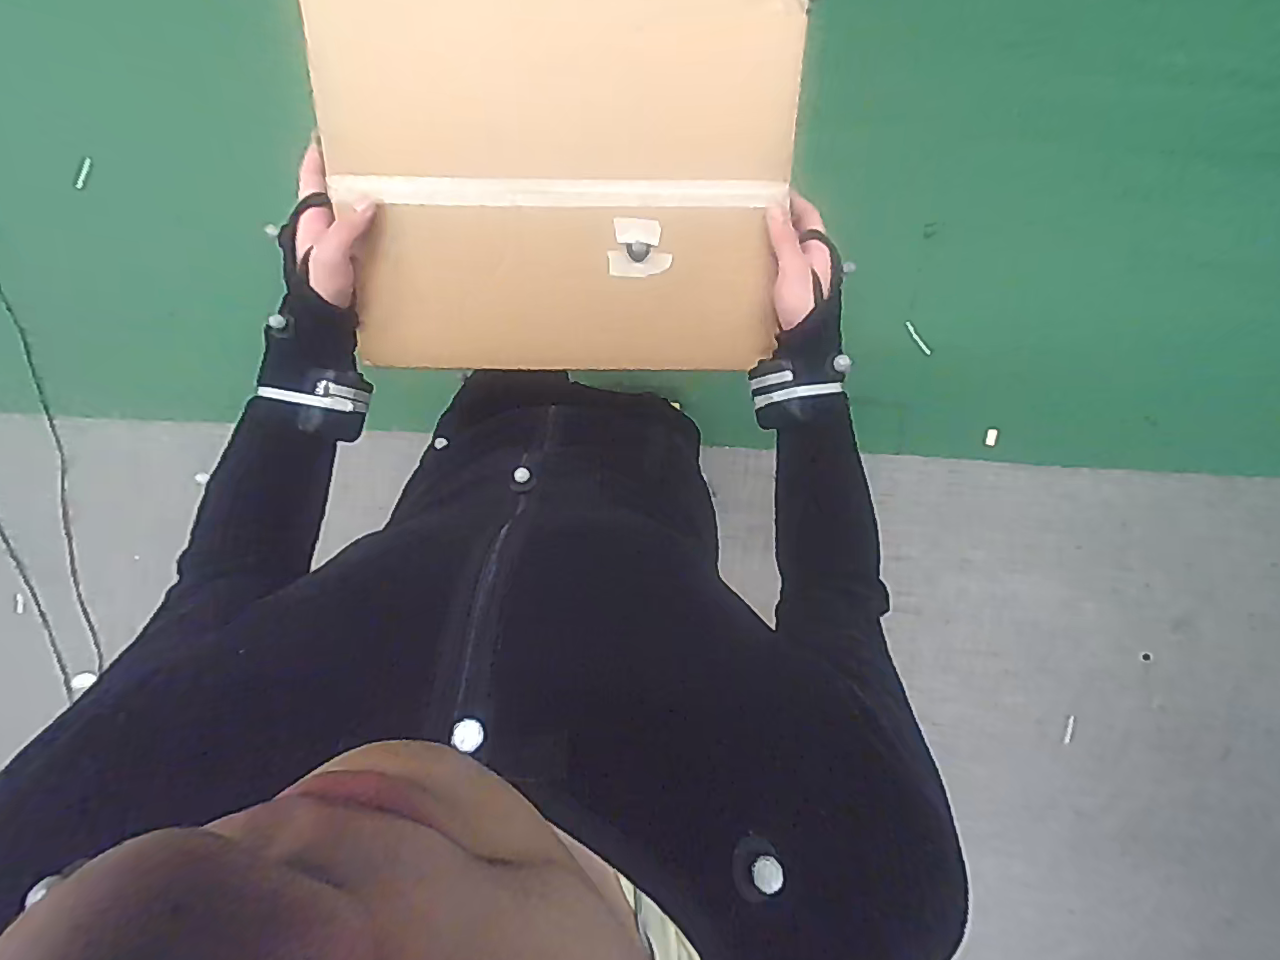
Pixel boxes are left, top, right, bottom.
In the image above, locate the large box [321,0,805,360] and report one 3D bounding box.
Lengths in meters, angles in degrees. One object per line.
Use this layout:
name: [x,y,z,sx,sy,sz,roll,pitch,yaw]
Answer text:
large box: [-0.069,-0.319,0.630,0.408,0.320,0.320,0,111,-3]
